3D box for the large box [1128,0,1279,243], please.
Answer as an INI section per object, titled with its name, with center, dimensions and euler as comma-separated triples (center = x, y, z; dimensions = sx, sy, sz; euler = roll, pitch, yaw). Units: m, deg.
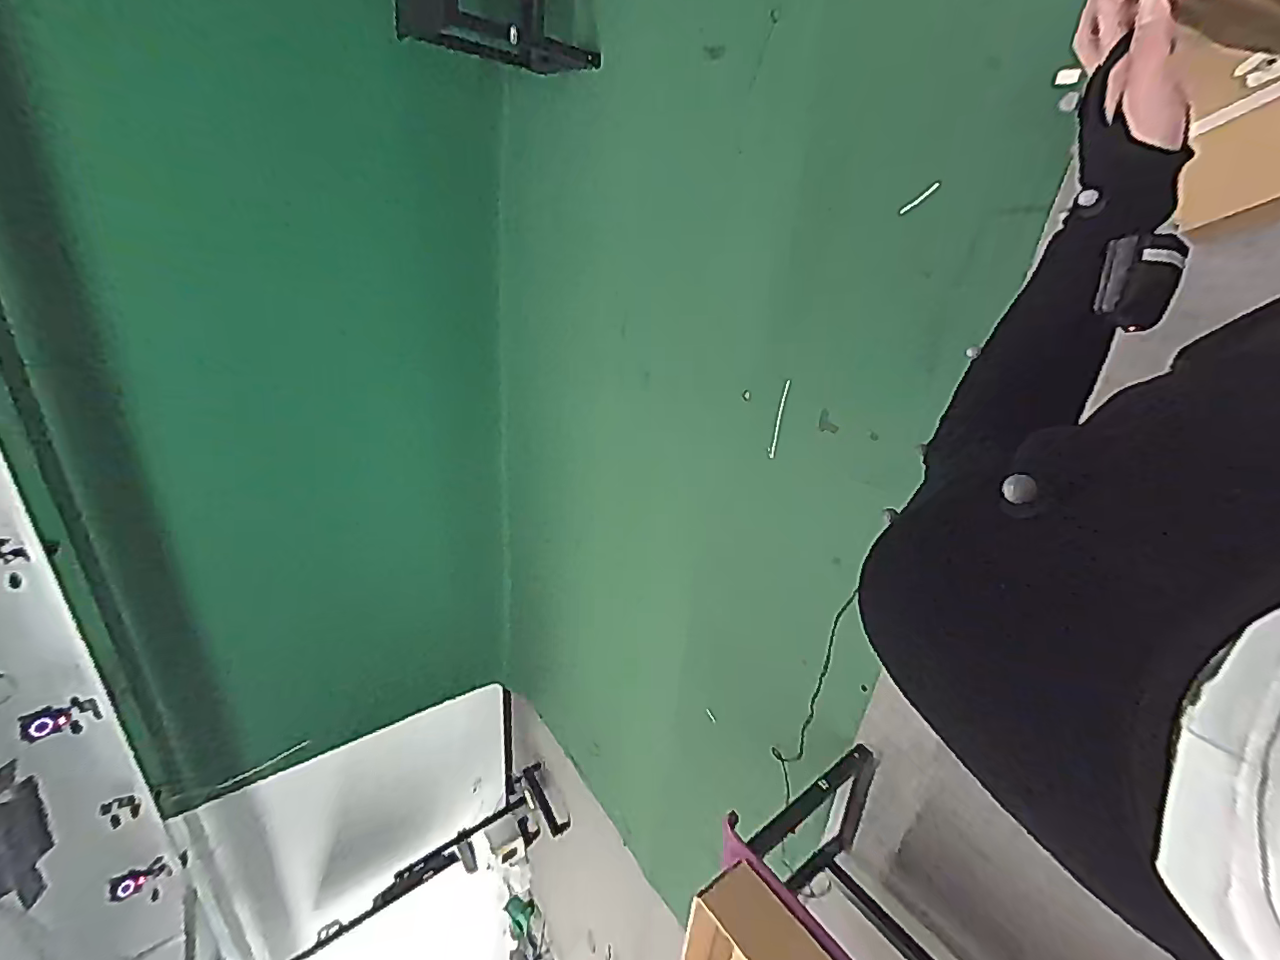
[large box]
center = 1.135, -0.640, 0.883
dimensions = 0.408, 0.320, 0.320
euler = -16, 87, 55
